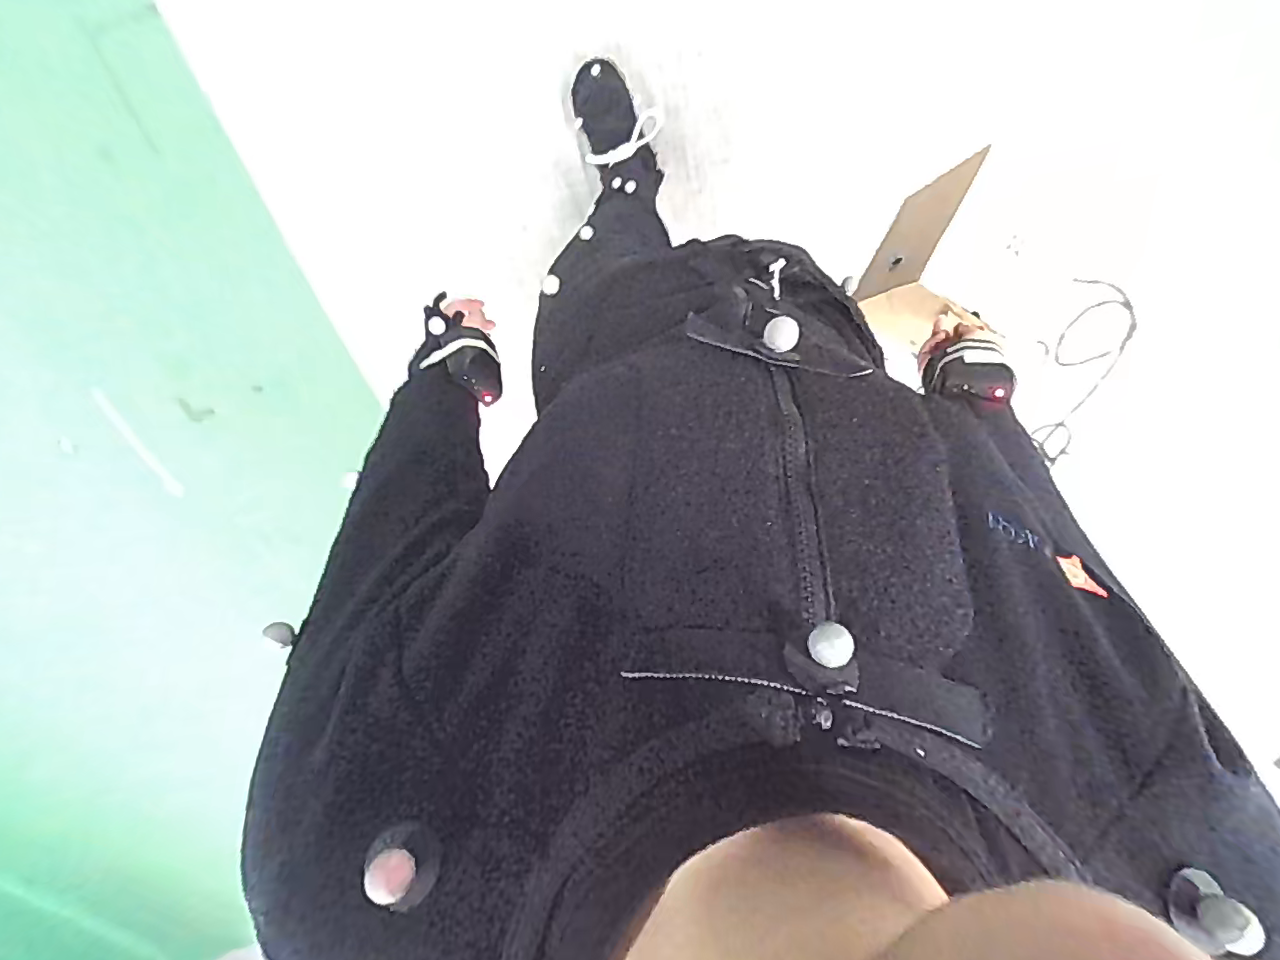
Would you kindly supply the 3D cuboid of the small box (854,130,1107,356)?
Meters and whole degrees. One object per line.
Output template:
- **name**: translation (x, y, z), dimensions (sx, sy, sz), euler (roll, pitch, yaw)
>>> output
- **small box**: translation (0.398, -0.270, 0.668), dimensions (0.168, 0.176, 0.179), euler (26, 93, -11)
